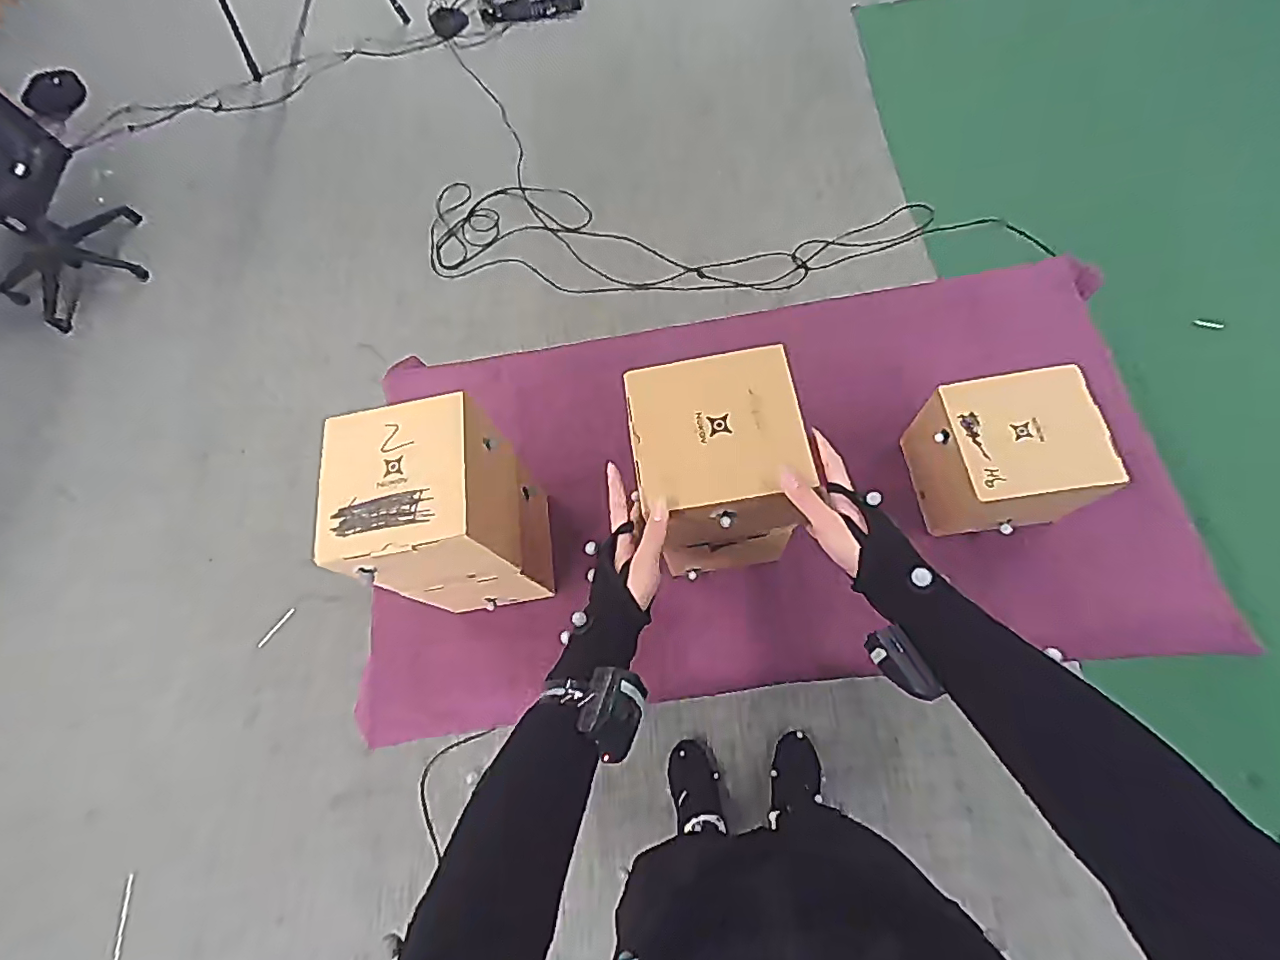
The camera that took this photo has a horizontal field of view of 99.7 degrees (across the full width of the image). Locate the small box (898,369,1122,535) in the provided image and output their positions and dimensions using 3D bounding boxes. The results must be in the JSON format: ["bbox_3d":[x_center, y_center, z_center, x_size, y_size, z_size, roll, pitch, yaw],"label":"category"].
[{"bbox_3d":[0.489,-0.030,0.748,0.179,0.176,0.168,-8,68,5],"label":"small box"}]

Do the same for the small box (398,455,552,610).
[{"bbox_3d":[-0.237,0.085,0.806,0.168,0.176,0.179,-10,68,4],"label":"small box"}]

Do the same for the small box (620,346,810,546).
[{"bbox_3d":[0.082,-0.028,0.630,0.179,0.176,0.168,-9,69,4],"label":"small box"}]

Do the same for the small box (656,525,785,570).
[{"bbox_3d":[0.104,0.027,0.782,0.168,0.176,0.179,-9,68,5],"label":"small box"}]
